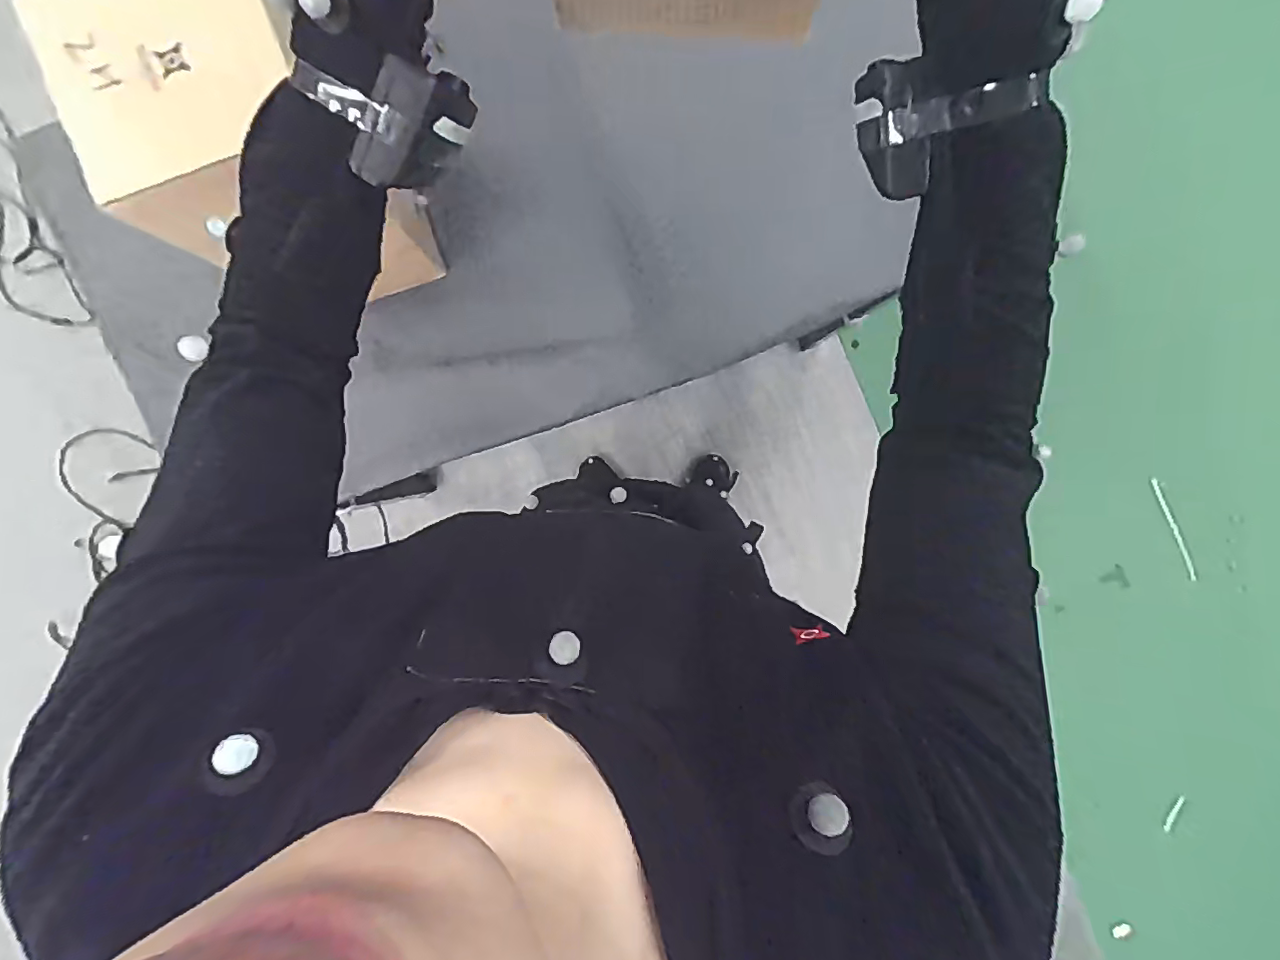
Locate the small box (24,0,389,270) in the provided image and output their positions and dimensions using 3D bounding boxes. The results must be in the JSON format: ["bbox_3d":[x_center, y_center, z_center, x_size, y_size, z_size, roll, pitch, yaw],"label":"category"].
[{"bbox_3d":[-0.355,-0.320,0.489,0.179,0.176,0.168,-21,92,-1],"label":"small box"}]

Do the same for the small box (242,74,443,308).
[{"bbox_3d":[-0.368,-0.329,0.653,0.179,0.176,0.168,-20,93,-2],"label":"small box"}]
